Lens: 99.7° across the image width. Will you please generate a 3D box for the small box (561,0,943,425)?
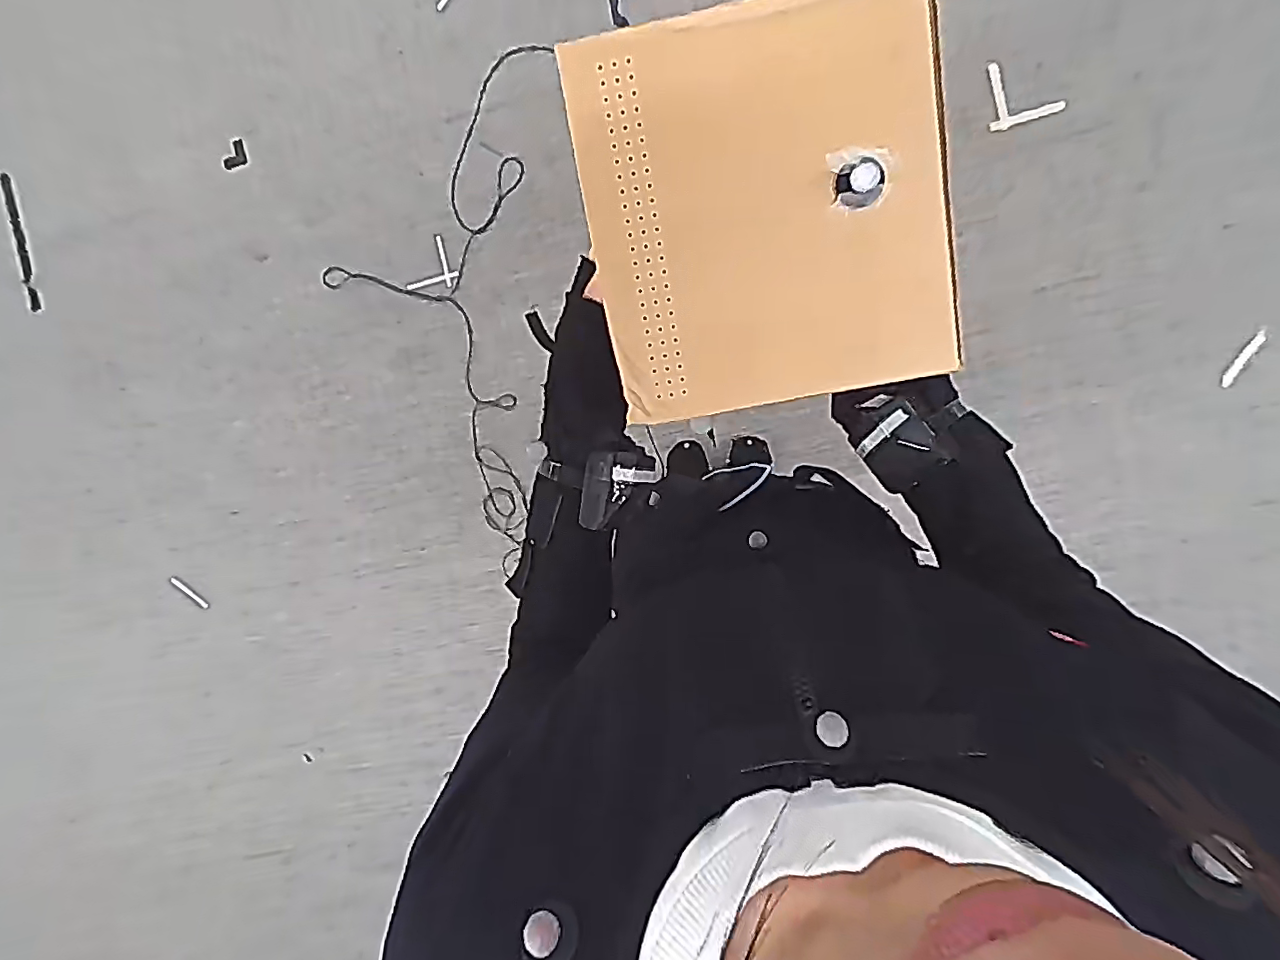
[{"bbox_3d":[0.057,-0.142,0.340,0.176,0.168,0.179,-10,101,6],"label":"small box"}]
